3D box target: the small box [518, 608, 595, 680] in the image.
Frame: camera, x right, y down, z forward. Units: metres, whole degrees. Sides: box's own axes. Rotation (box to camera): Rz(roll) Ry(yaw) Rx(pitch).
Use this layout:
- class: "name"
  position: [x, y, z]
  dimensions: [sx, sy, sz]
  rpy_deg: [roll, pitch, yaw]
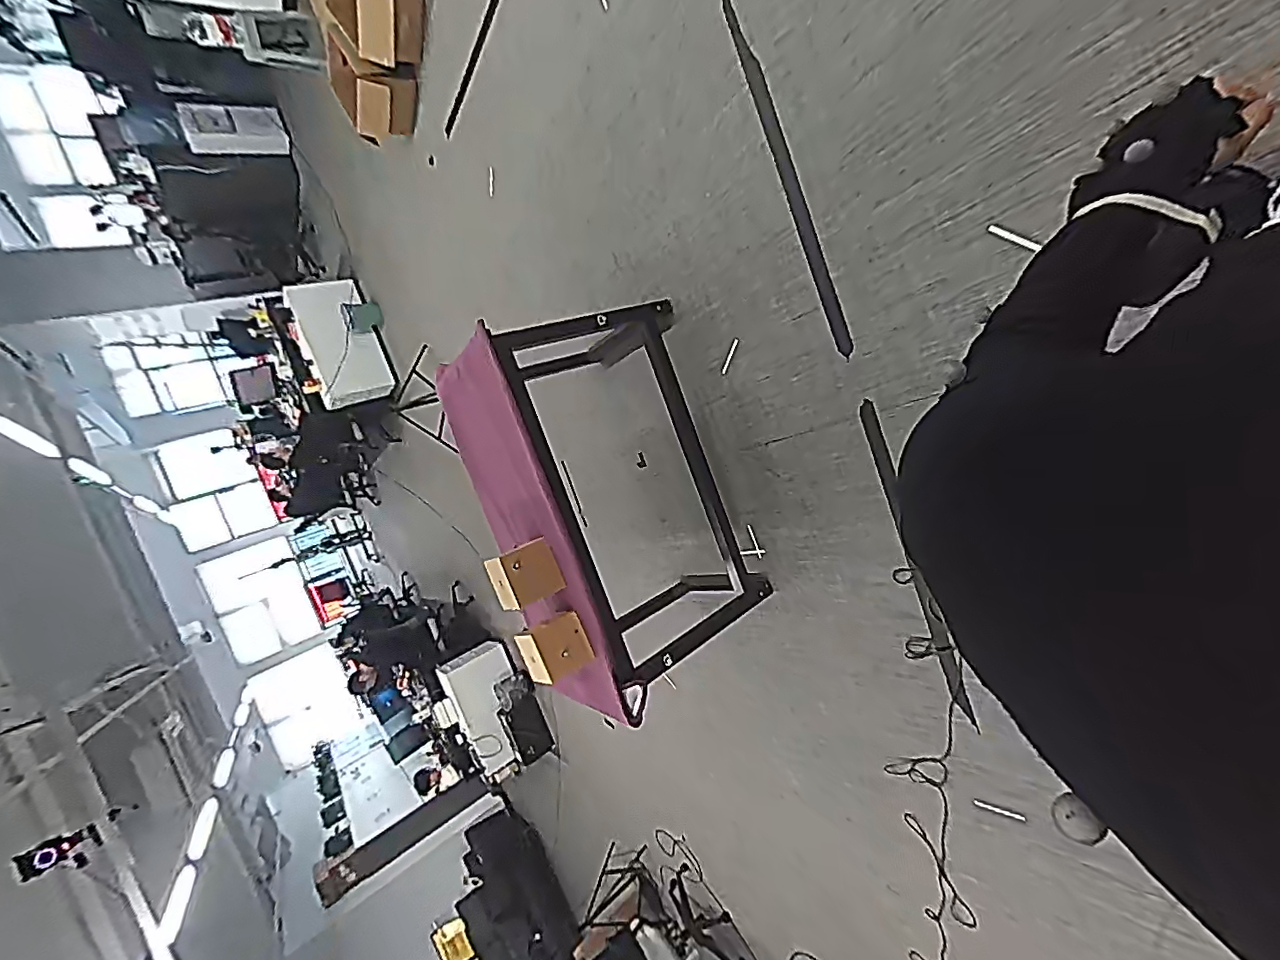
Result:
- class: "small box"
  position: [-0.267, 0.529, 1.757]
  dimensions: [0.179, 0.176, 0.168]
  rpy_deg: [-27, 87, 57]

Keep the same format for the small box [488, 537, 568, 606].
- class: "small box"
  position: [-0.360, 0.291, 1.741]
  dimensions: [0.168, 0.176, 0.179]
  rpy_deg: [-22, 90, 57]
